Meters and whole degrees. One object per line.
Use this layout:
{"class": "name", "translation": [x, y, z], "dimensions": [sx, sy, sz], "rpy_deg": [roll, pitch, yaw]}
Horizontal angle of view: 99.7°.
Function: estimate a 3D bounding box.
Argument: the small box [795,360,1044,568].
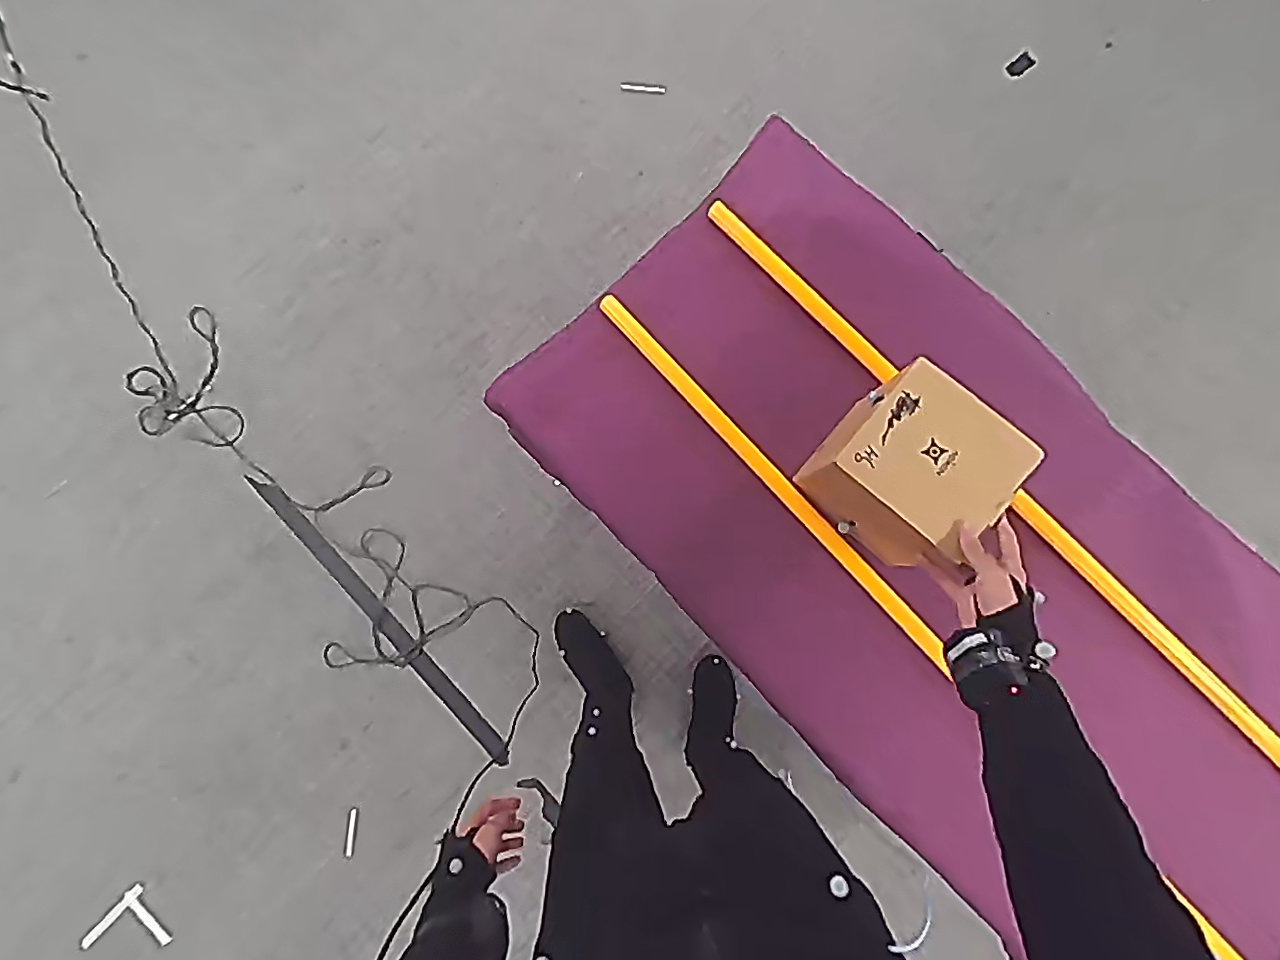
{"class": "small box", "translation": [0.326, -0.012, 0.670], "dimensions": [0.179, 0.176, 0.168], "rpy_deg": [42, 83, 5]}
